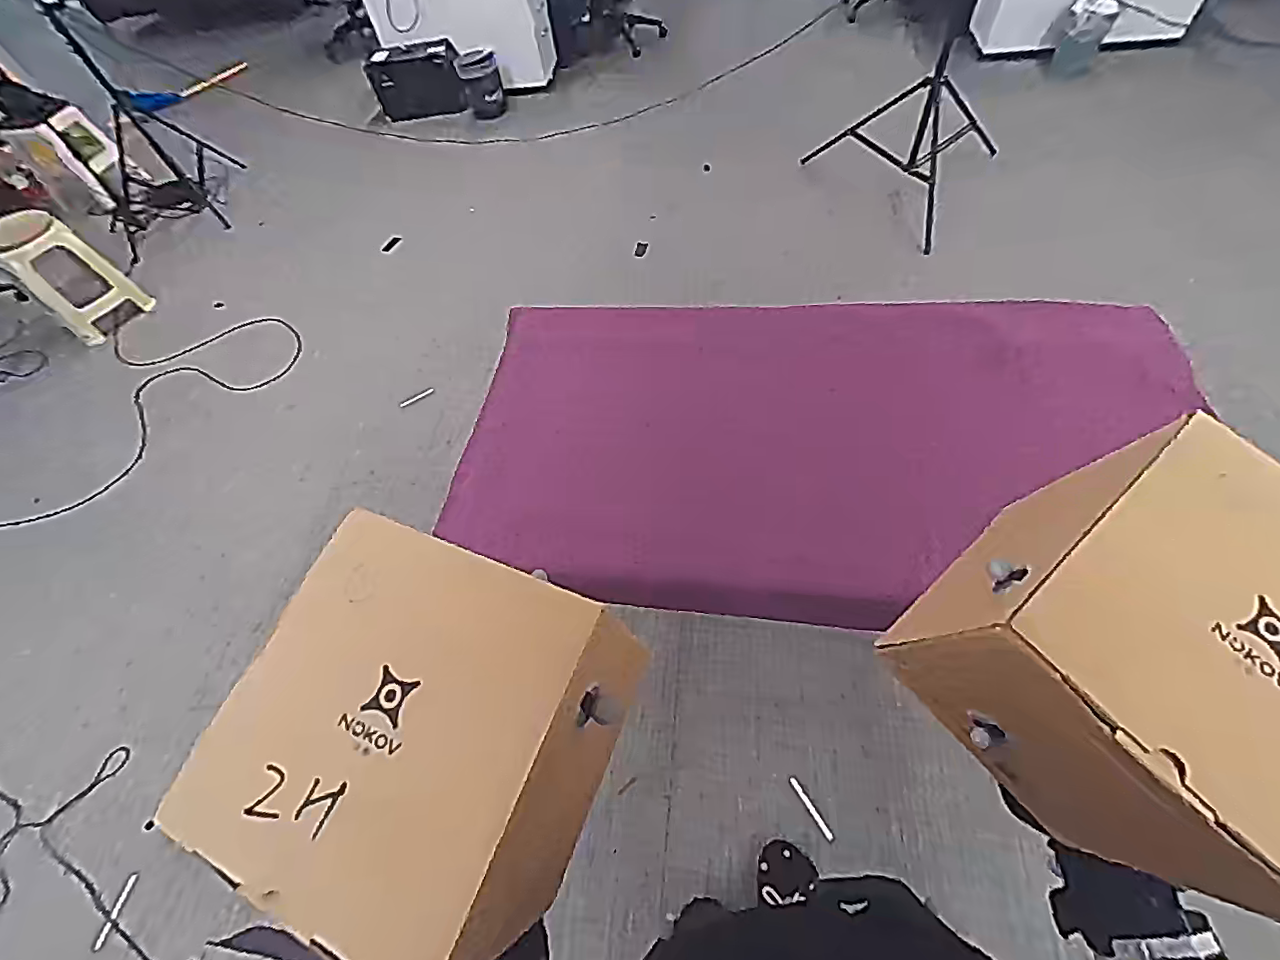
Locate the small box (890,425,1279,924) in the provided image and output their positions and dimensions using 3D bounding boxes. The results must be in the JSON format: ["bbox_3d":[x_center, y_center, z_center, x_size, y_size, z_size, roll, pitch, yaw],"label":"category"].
[{"bbox_3d":[0.294,0.105,0.330,0.179,0.176,0.168,-40,73,-12],"label":"small box"}]

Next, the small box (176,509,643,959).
[{"bbox_3d":[-0.106,0.147,0.337,0.168,0.176,0.179,17,69,18],"label":"small box"}]
